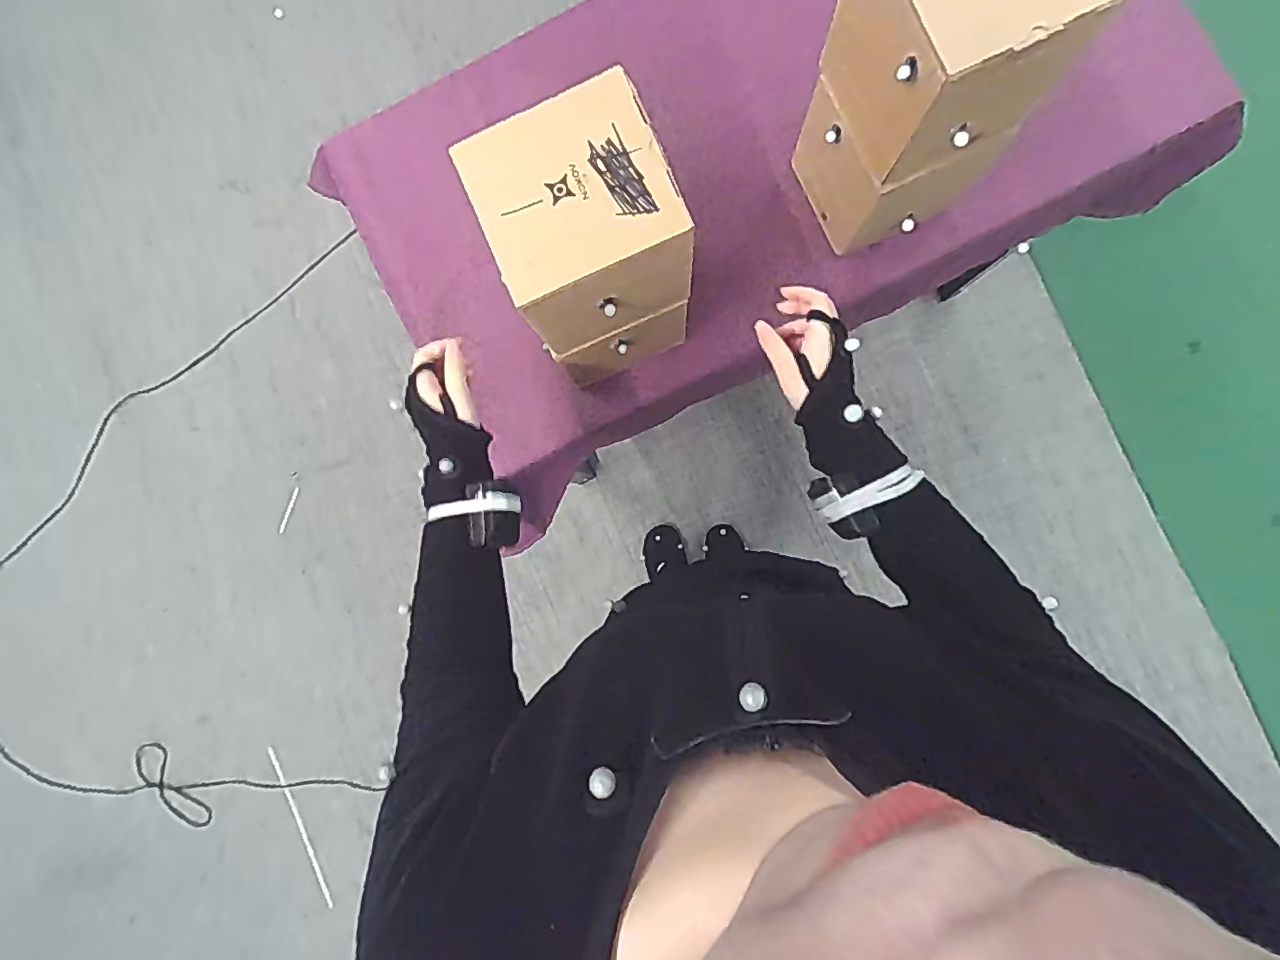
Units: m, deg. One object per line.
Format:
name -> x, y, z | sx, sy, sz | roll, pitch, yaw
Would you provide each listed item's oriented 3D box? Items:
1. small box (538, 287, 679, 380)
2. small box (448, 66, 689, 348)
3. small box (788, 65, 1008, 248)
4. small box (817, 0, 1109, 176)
small box -> -0.055, -0.252, 0.728 | 0.179, 0.176, 0.168 | -23, 87, 2
small box -> -0.061, -0.262, 0.565 | 0.179, 0.176, 0.168 | -24, 87, 4
small box -> 0.320, -0.443, 0.709 | 0.179, 0.176, 0.168 | -25, 86, 2
small box -> 0.302, -0.458, 0.547 | 0.168, 0.176, 0.179 | -24, 87, 3
